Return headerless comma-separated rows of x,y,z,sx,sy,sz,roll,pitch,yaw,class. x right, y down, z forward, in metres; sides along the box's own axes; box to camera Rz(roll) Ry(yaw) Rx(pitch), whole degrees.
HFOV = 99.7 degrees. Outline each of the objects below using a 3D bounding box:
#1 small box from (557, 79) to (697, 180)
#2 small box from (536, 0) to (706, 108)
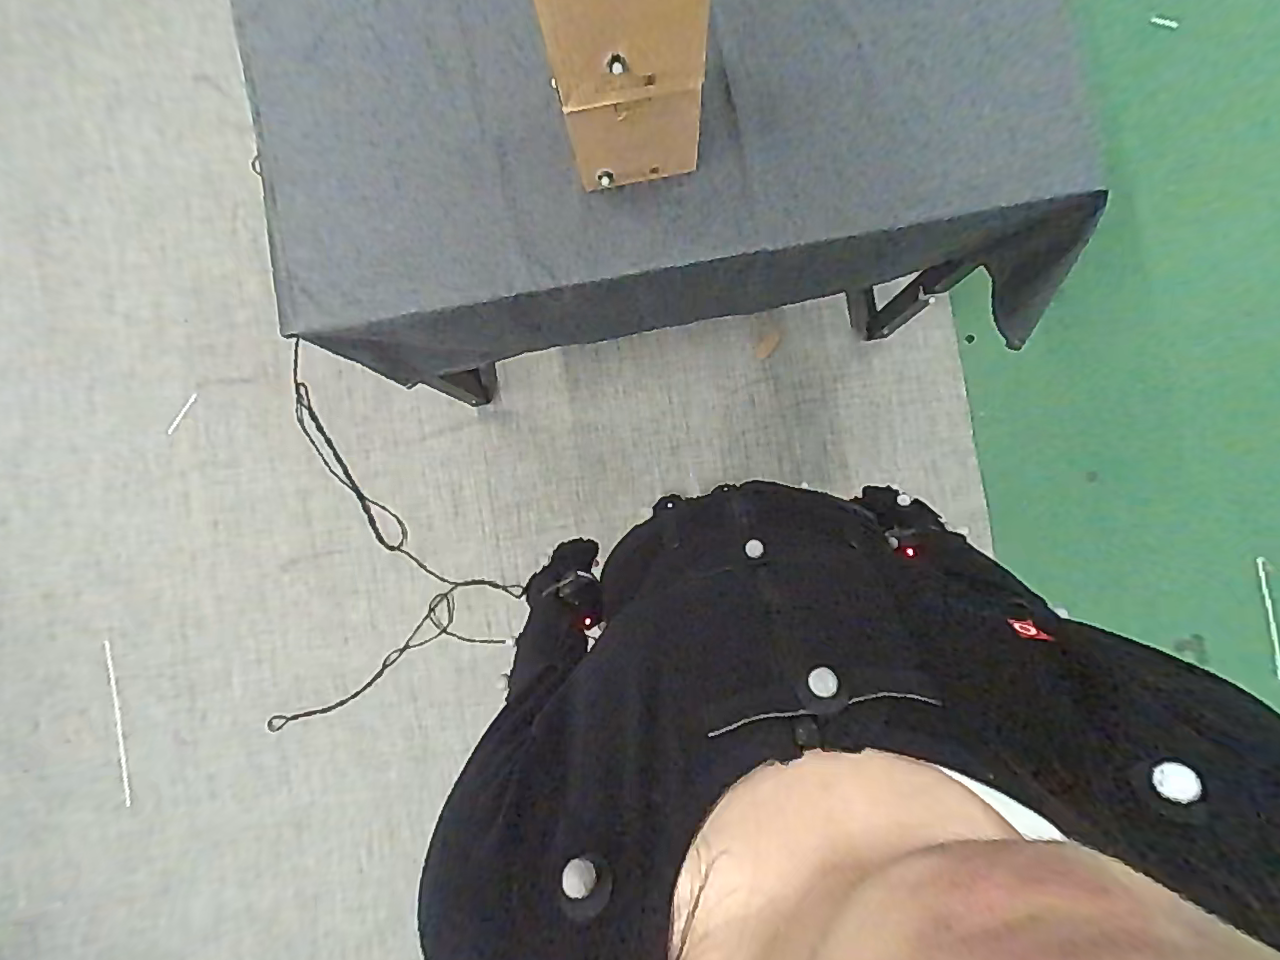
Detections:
-0.018,-0.528,0.717,0.168,0.176,0.179,-9,86,3,small box
-0.027,-0.534,0.555,0.168,0.176,0.179,-9,88,3,small box
